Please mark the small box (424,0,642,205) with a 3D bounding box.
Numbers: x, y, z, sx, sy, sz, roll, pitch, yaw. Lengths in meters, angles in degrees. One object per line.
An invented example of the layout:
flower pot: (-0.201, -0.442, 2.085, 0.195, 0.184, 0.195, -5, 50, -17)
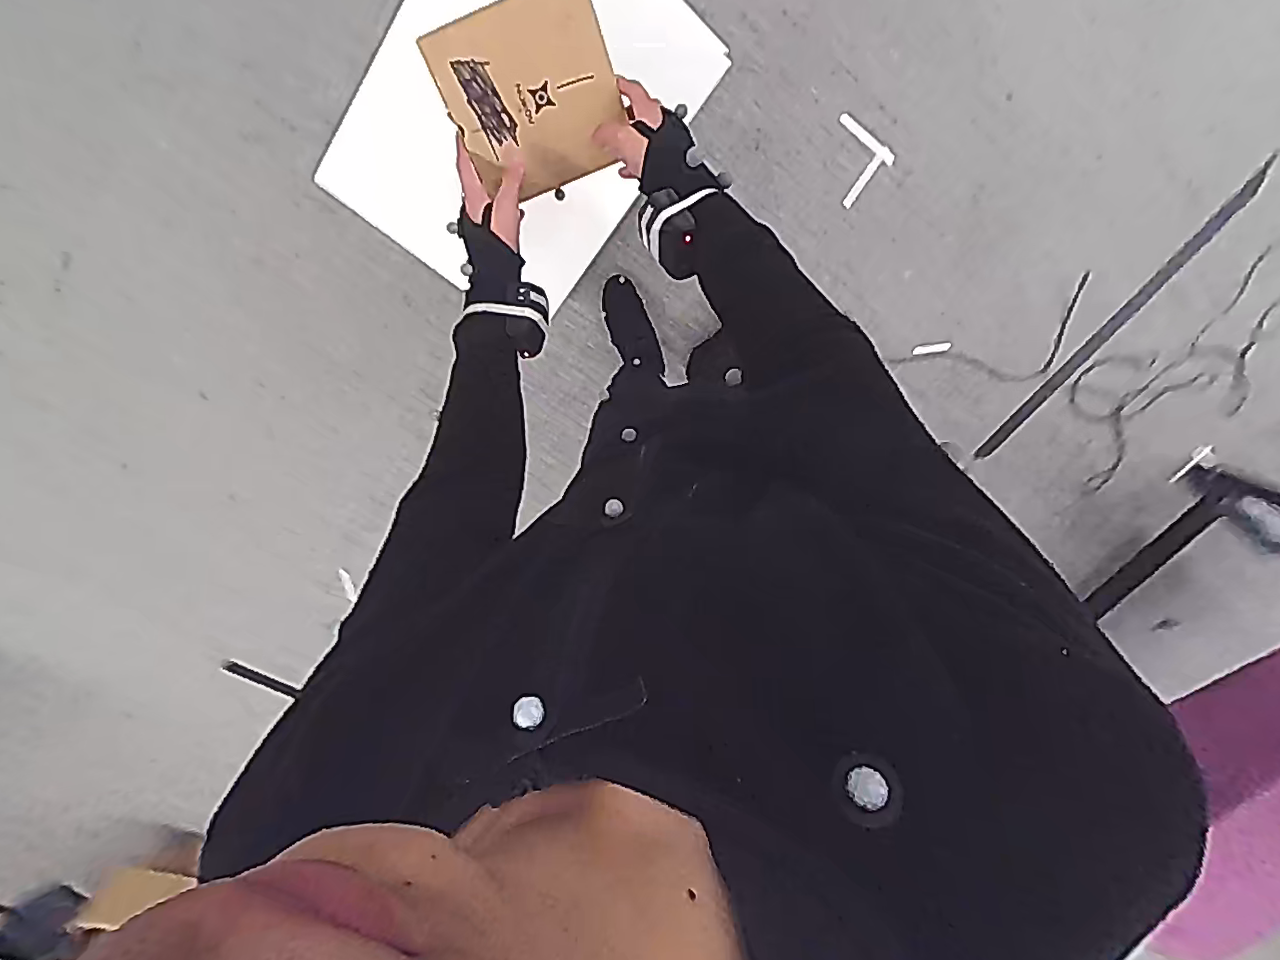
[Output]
small box: (-0.109, -0.434, 0.619, 0.179, 0.176, 0.168, -19, 121, 5)
